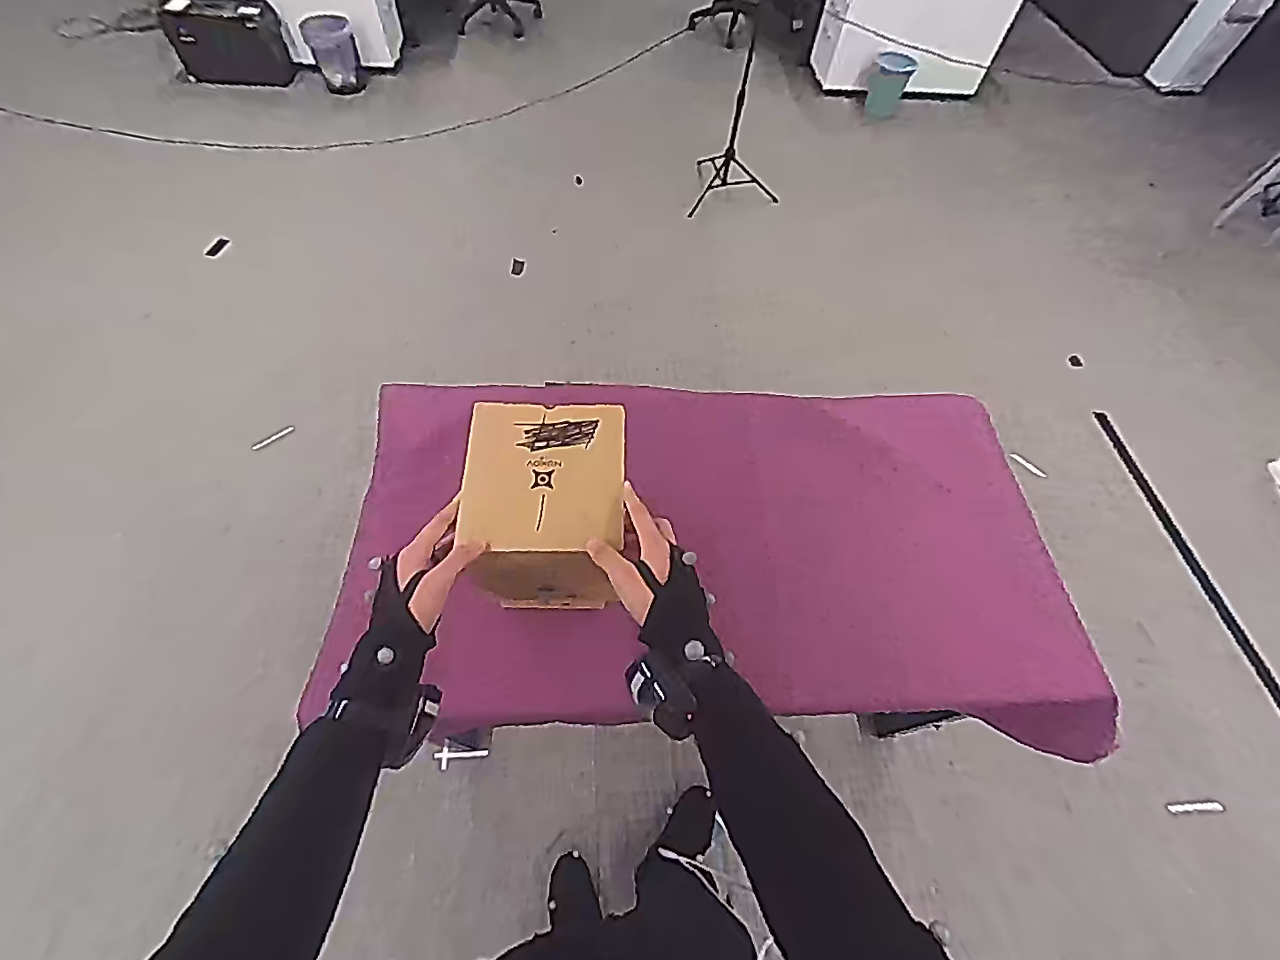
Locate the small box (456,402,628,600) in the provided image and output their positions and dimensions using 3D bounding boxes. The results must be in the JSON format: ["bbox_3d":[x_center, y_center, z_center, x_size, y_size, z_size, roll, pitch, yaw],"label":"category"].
[{"bbox_3d":[-0.100,0.030,0.631,0.168,0.176,0.179,1,62,-2],"label":"small box"}]
